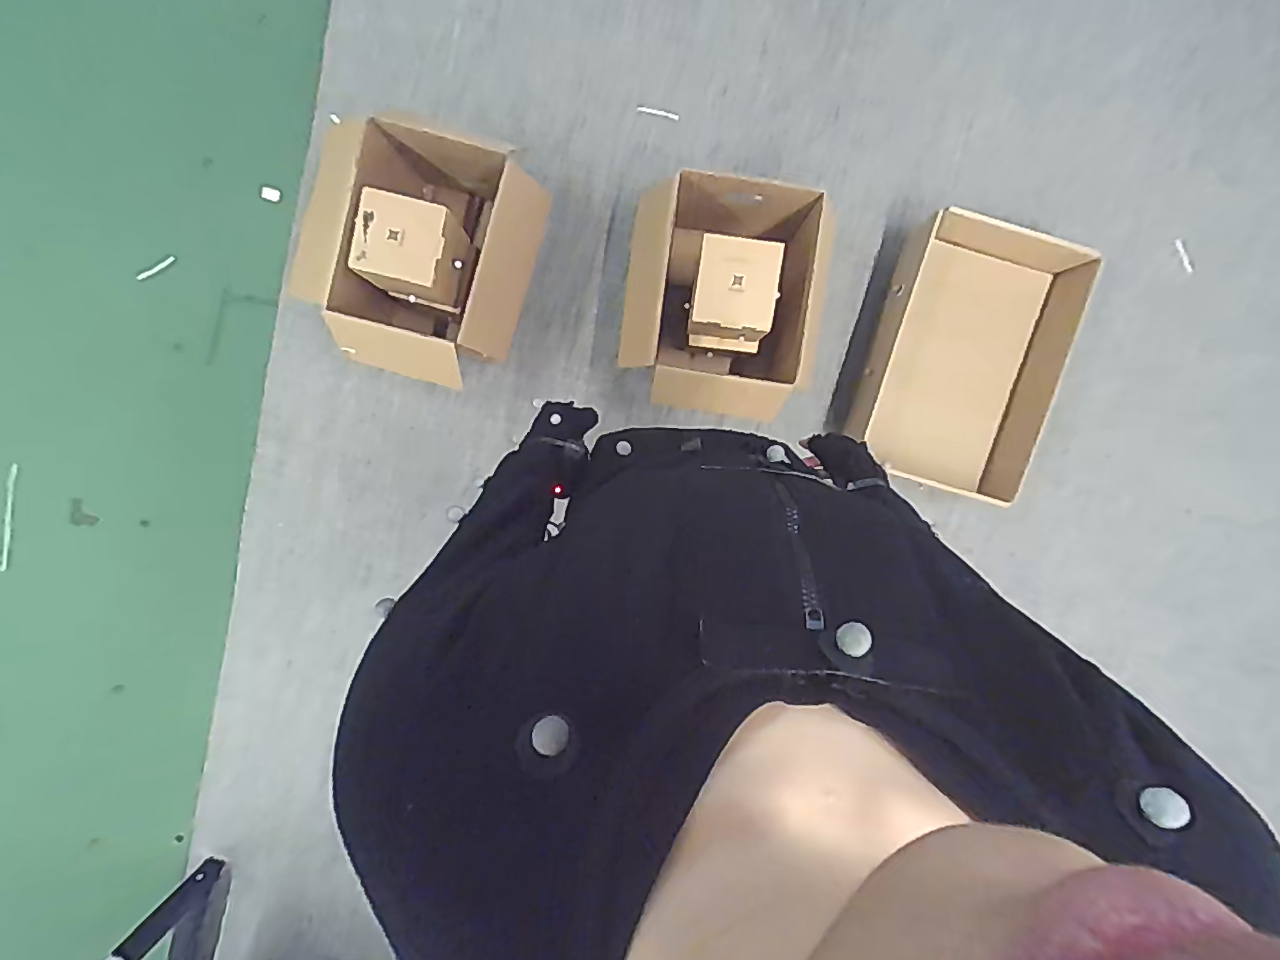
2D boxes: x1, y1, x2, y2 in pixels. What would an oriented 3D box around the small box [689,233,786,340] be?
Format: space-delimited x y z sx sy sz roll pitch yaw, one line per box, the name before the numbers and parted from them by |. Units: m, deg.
small box | 0.201 -0.406 1.165 0.168 0.176 0.179 8 97 -1
